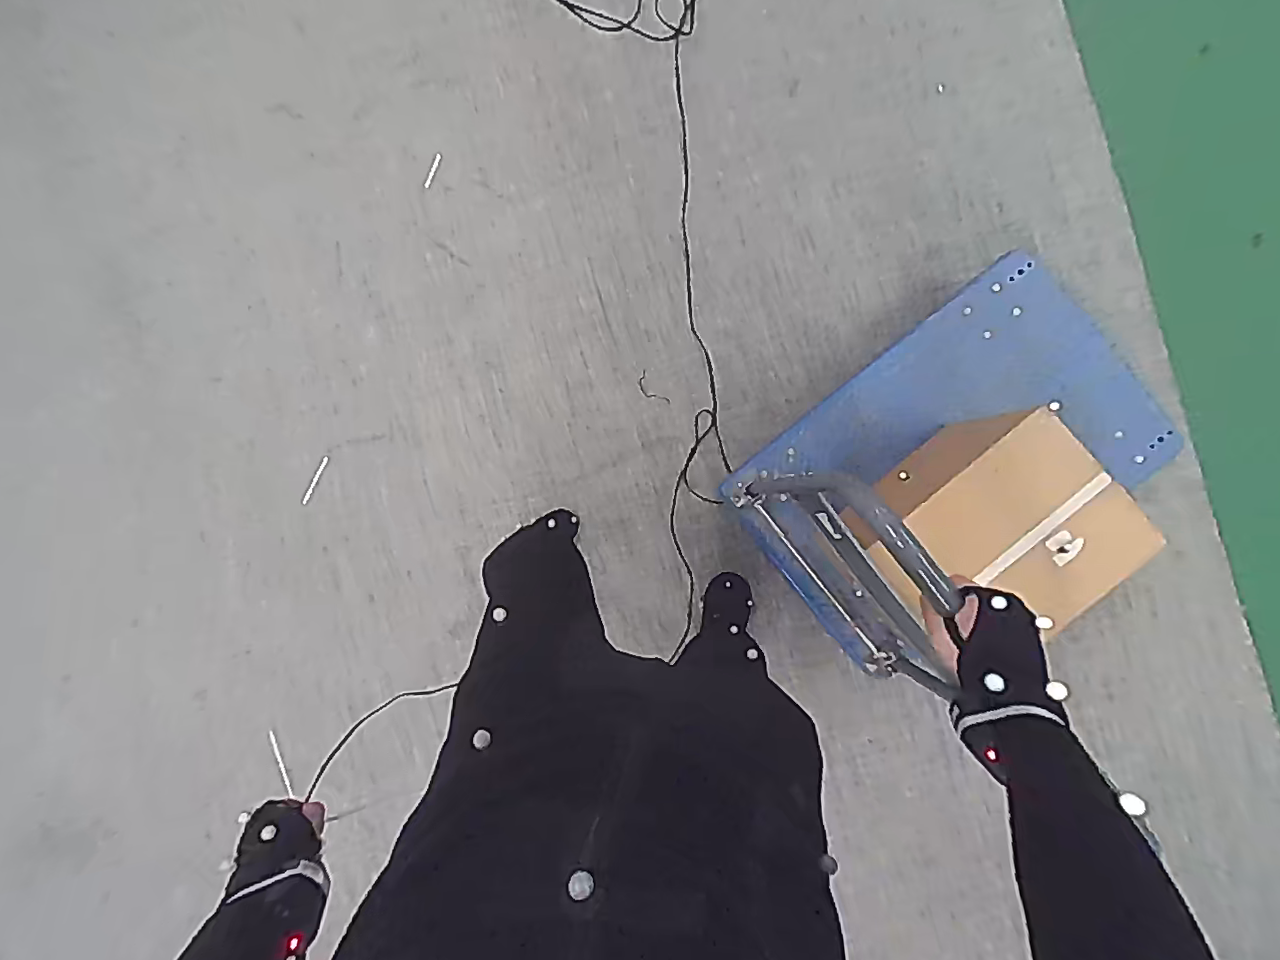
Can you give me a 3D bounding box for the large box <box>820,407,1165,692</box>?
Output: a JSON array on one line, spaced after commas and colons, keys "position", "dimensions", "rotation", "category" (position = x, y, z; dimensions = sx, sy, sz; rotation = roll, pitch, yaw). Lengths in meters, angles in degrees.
[{"position": [0.640, 0.121, 1.062], "dimensions": [0.408, 0.320, 0.320], "rotation": [-40, 89, 1], "category": "large box"}]
